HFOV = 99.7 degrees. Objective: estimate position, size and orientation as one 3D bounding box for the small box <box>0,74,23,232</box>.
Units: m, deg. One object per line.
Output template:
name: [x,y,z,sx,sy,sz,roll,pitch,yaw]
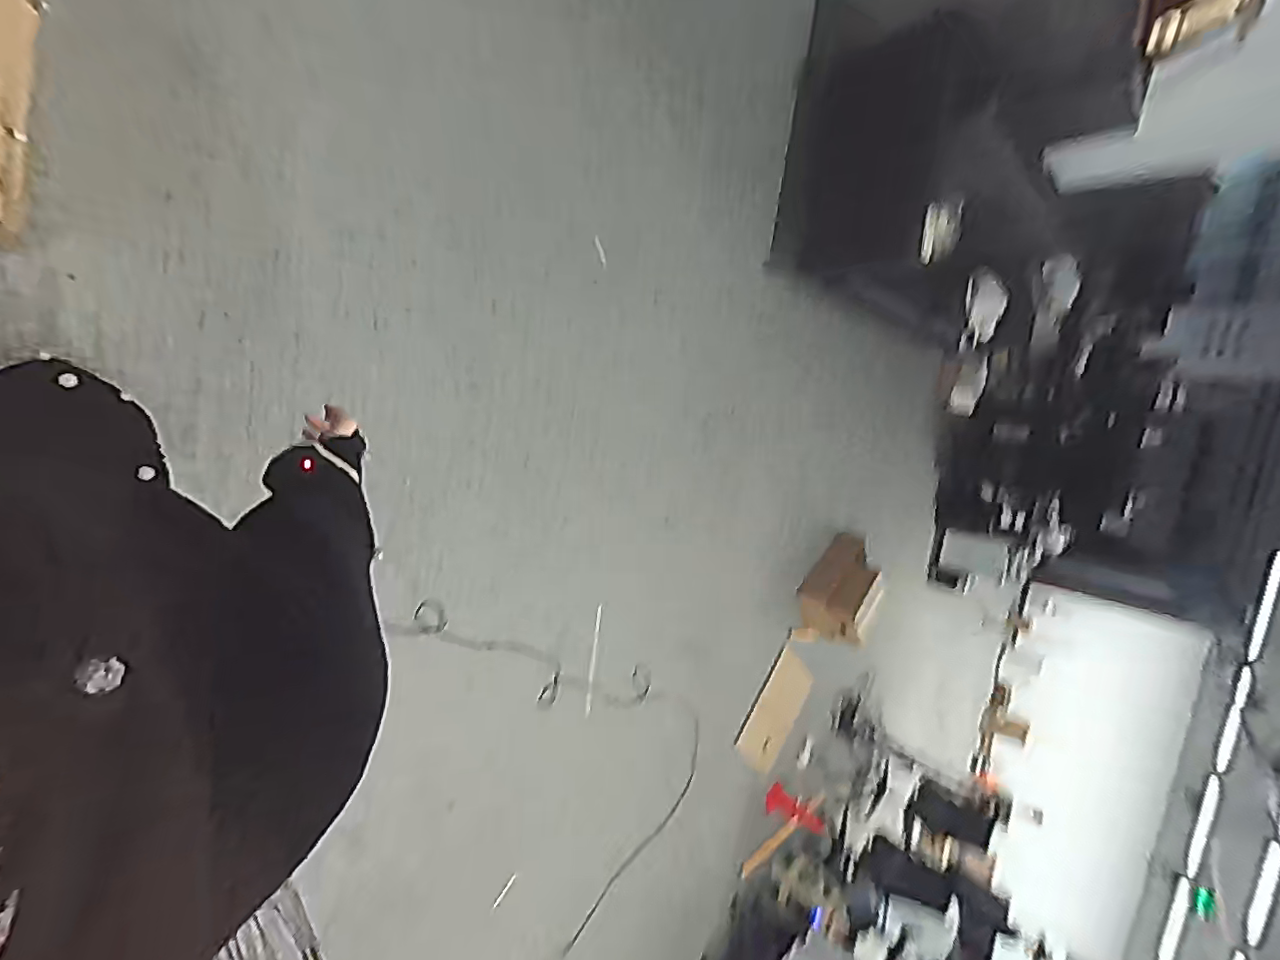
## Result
small box: [-0.862,-0.407,0.636,0.179,0.176,0.168,1,99,-46]
